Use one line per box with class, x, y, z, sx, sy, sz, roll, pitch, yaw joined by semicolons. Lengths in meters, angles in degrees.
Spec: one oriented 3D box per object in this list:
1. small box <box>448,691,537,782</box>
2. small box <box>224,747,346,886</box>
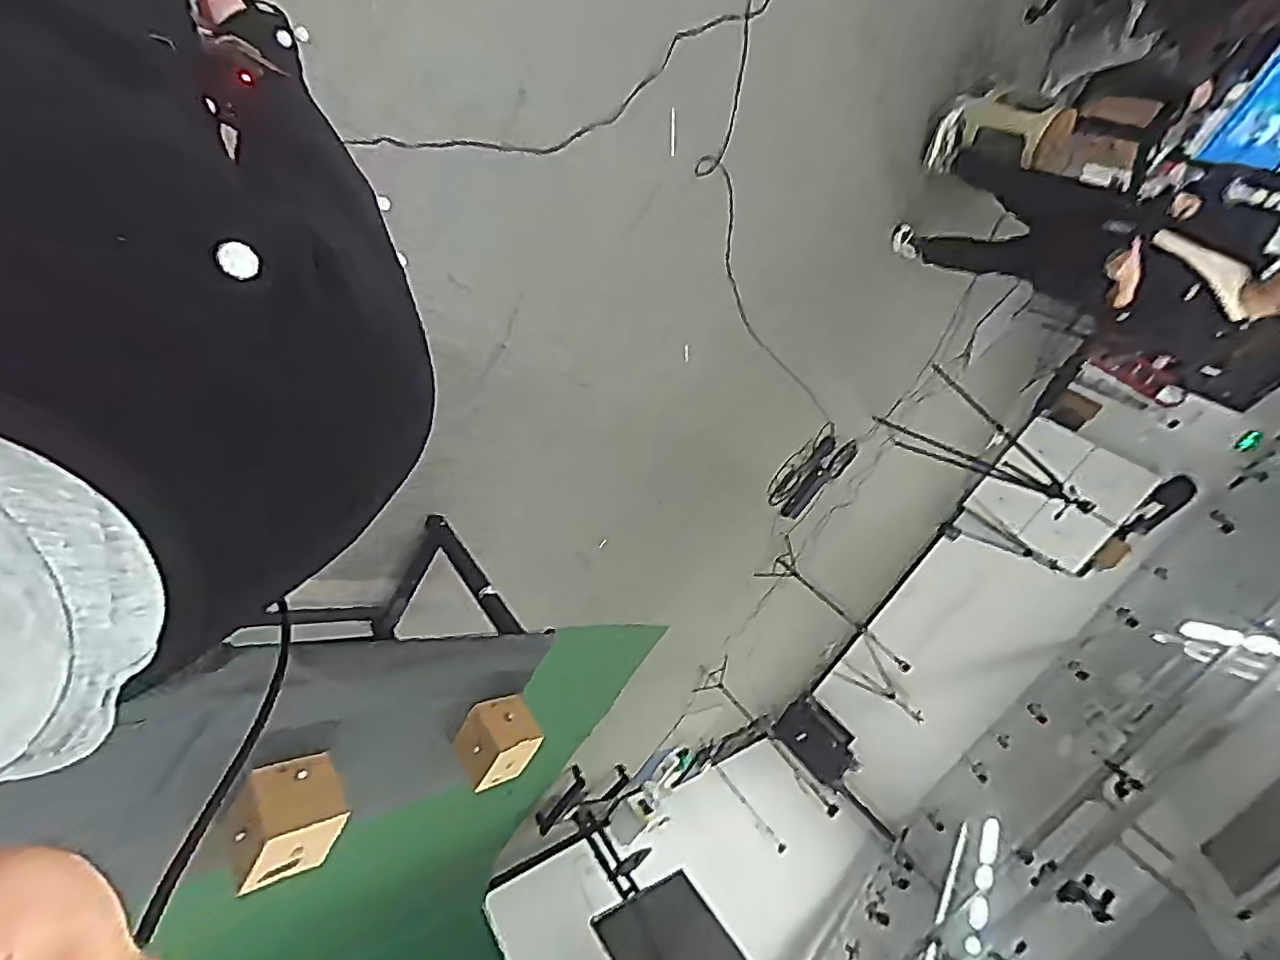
small box;-0.452;0.764;1.639;0.168;0.176;0.179;10;115;-53
small box;-0.798;0.740;1.209;0.168;0.176;0.179;13;112;-54
